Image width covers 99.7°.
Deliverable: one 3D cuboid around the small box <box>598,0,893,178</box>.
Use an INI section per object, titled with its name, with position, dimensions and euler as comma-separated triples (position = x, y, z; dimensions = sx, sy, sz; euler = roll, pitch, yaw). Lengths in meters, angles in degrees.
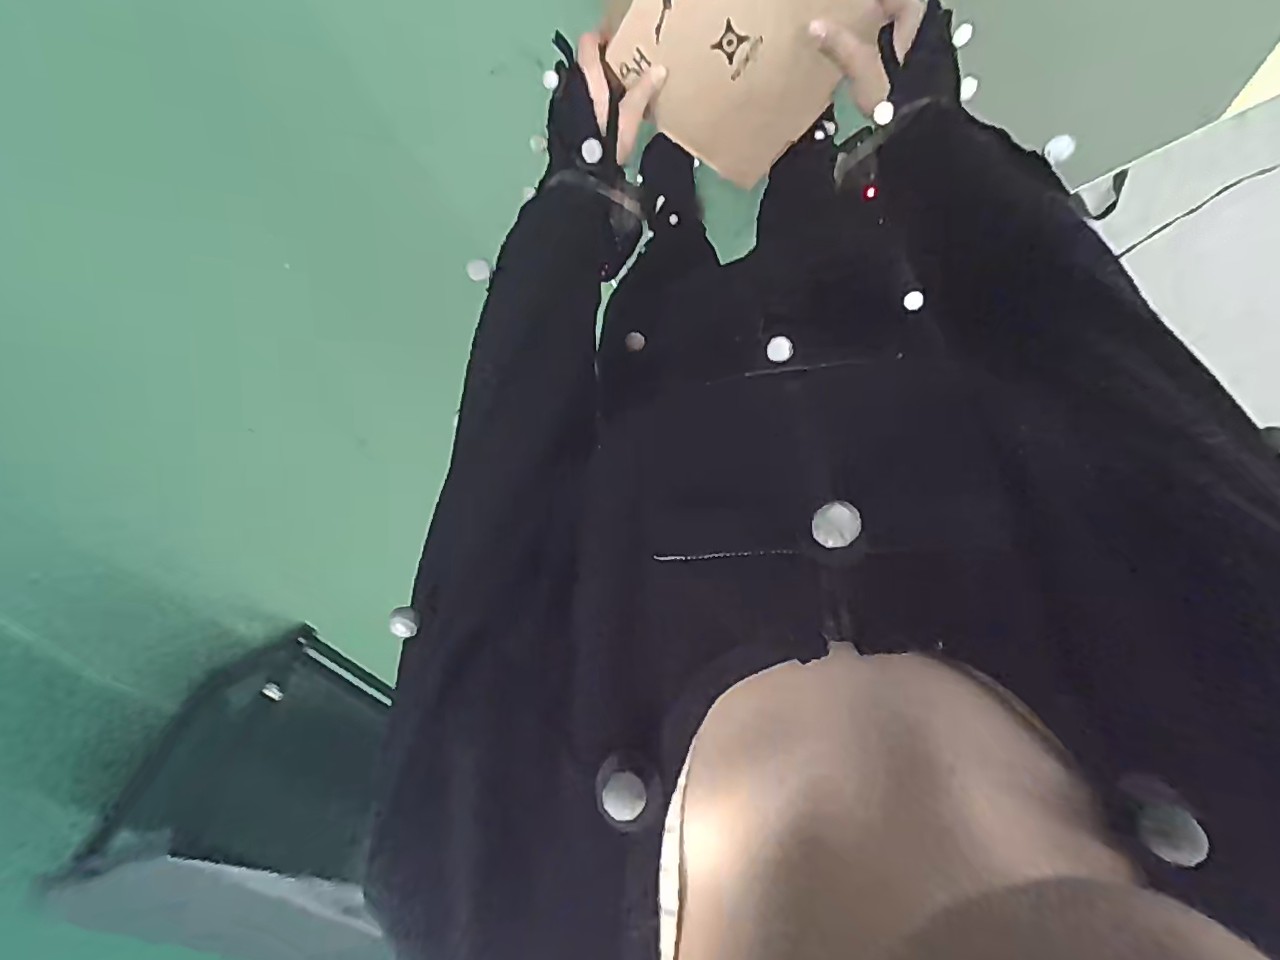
[small box]
position = 0.083, -0.421, 0.471
dimensions = 0.179, 0.176, 0.168
euler = 21, 143, -29
